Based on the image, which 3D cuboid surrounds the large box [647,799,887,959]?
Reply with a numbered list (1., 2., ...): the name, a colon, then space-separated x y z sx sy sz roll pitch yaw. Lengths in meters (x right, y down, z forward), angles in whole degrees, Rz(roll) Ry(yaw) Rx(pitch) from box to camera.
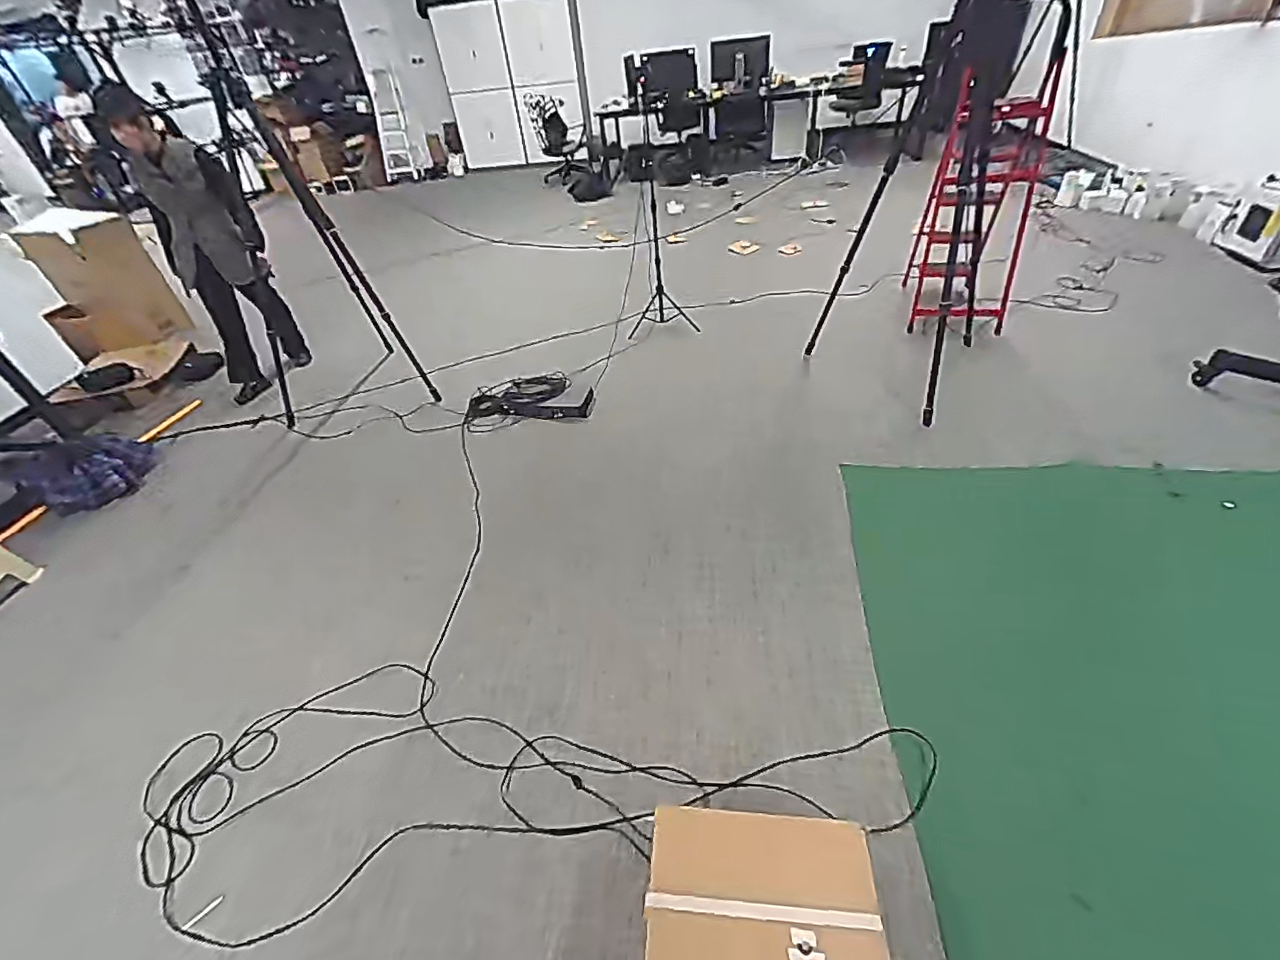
1. large box: 0.224 0.860 1.053 0.408 0.320 0.320 1 42 7
